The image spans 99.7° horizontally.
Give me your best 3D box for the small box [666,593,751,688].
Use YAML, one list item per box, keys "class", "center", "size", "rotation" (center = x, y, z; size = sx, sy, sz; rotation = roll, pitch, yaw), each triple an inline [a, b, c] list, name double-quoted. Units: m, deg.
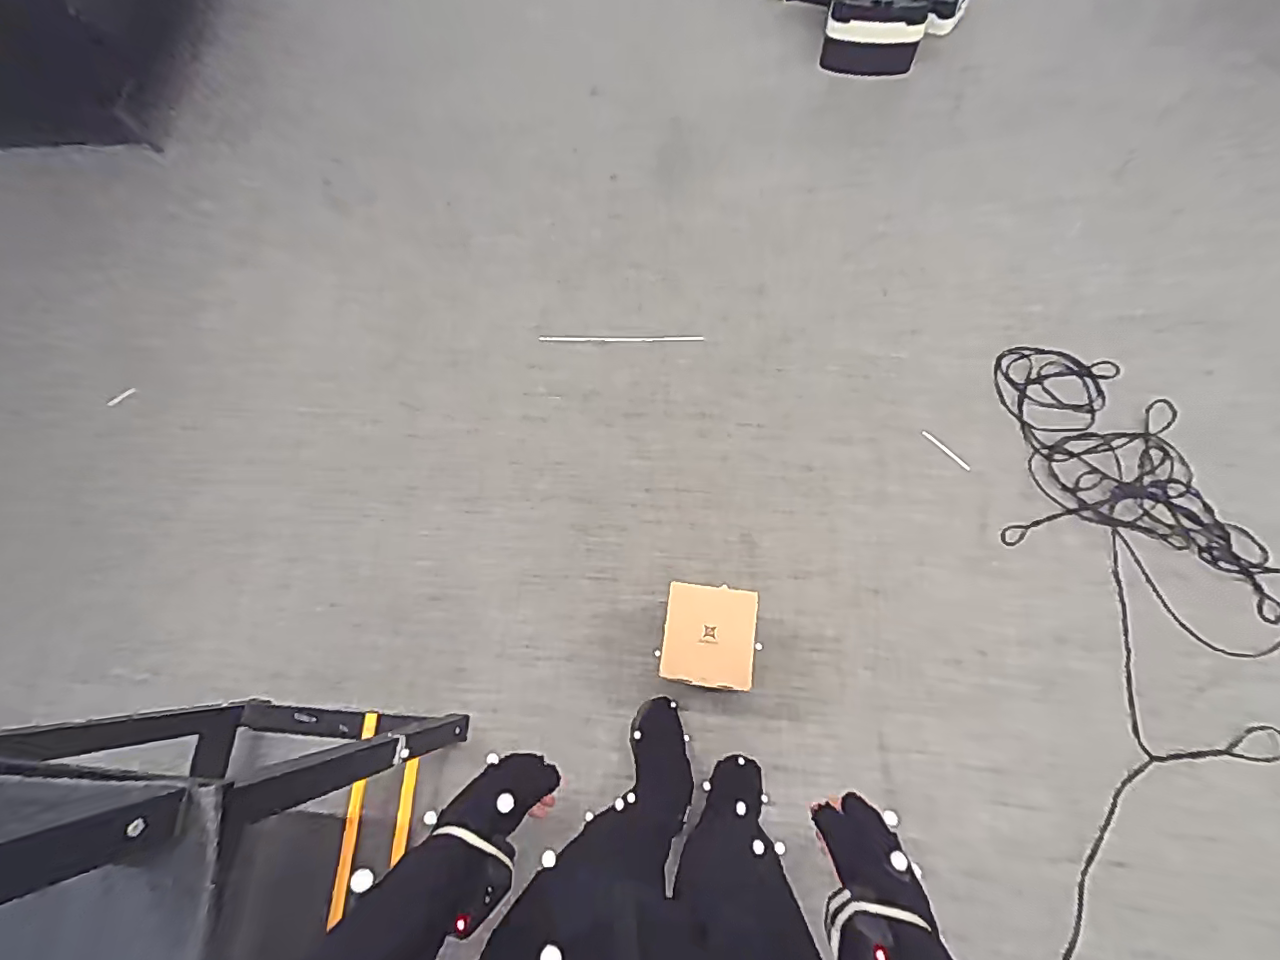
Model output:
- class: "small box"
  center: [0.154, 0.362, 1.220]
  size: [0.168, 0.176, 0.179]
  rotation: [6, 73, 10]
